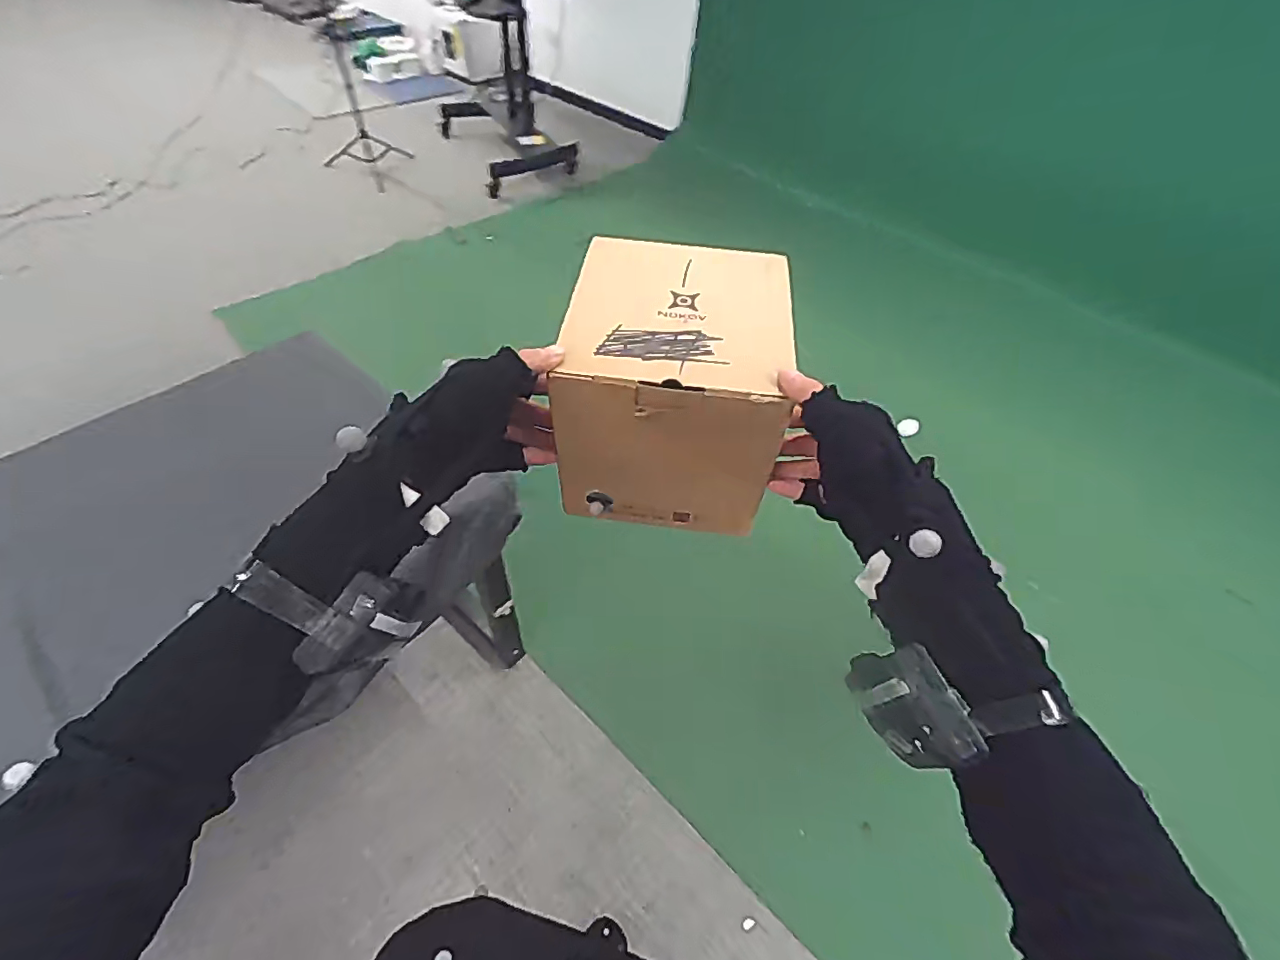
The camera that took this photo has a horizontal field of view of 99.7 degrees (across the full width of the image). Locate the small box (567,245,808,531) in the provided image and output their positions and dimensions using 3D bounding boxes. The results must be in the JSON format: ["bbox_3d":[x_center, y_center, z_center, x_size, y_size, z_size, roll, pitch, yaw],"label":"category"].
[{"bbox_3d":[0.040,-0.075,0.473,0.168,0.176,0.179,8,52,3],"label":"small box"}]
